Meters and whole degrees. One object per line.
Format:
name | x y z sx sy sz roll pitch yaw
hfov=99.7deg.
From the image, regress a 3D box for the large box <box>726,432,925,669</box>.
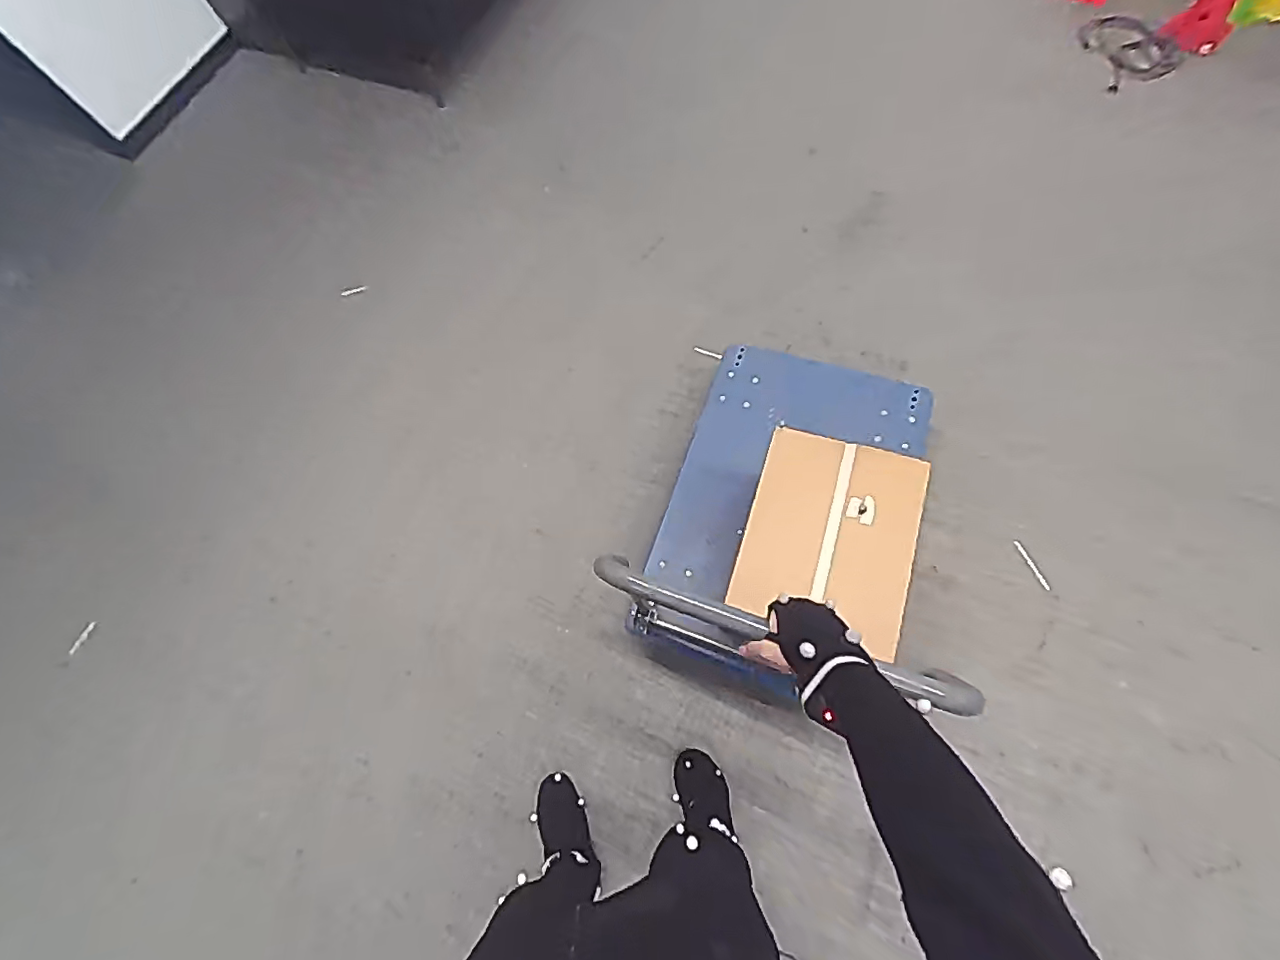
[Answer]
large box | 0.387 0.167 1.194 0.320 0.320 0.408 16 71 12
